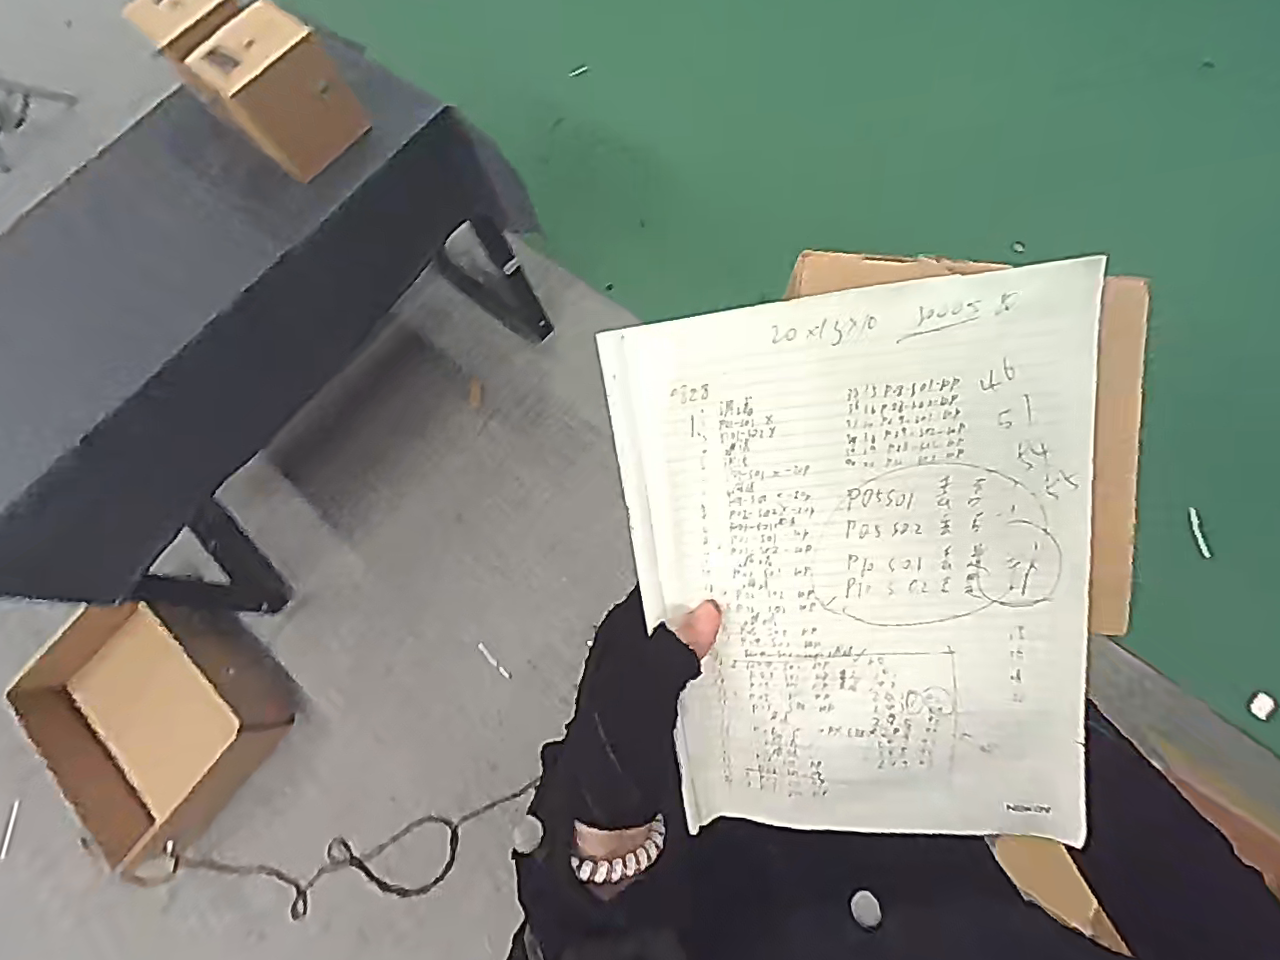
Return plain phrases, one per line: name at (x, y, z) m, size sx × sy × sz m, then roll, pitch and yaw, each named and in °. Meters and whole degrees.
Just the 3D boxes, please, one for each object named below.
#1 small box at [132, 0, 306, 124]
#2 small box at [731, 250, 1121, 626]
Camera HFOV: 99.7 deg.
small box at (-0.805, -0.841, 1.048) m, size 0.179 × 0.176 × 0.168 m, roll 43°, pitch 83°, yaw 18°
small box at (0.152, -0.018, 0.346) m, size 0.168 × 0.176 × 0.179 m, roll 7°, pitch 84°, yaw 5°
